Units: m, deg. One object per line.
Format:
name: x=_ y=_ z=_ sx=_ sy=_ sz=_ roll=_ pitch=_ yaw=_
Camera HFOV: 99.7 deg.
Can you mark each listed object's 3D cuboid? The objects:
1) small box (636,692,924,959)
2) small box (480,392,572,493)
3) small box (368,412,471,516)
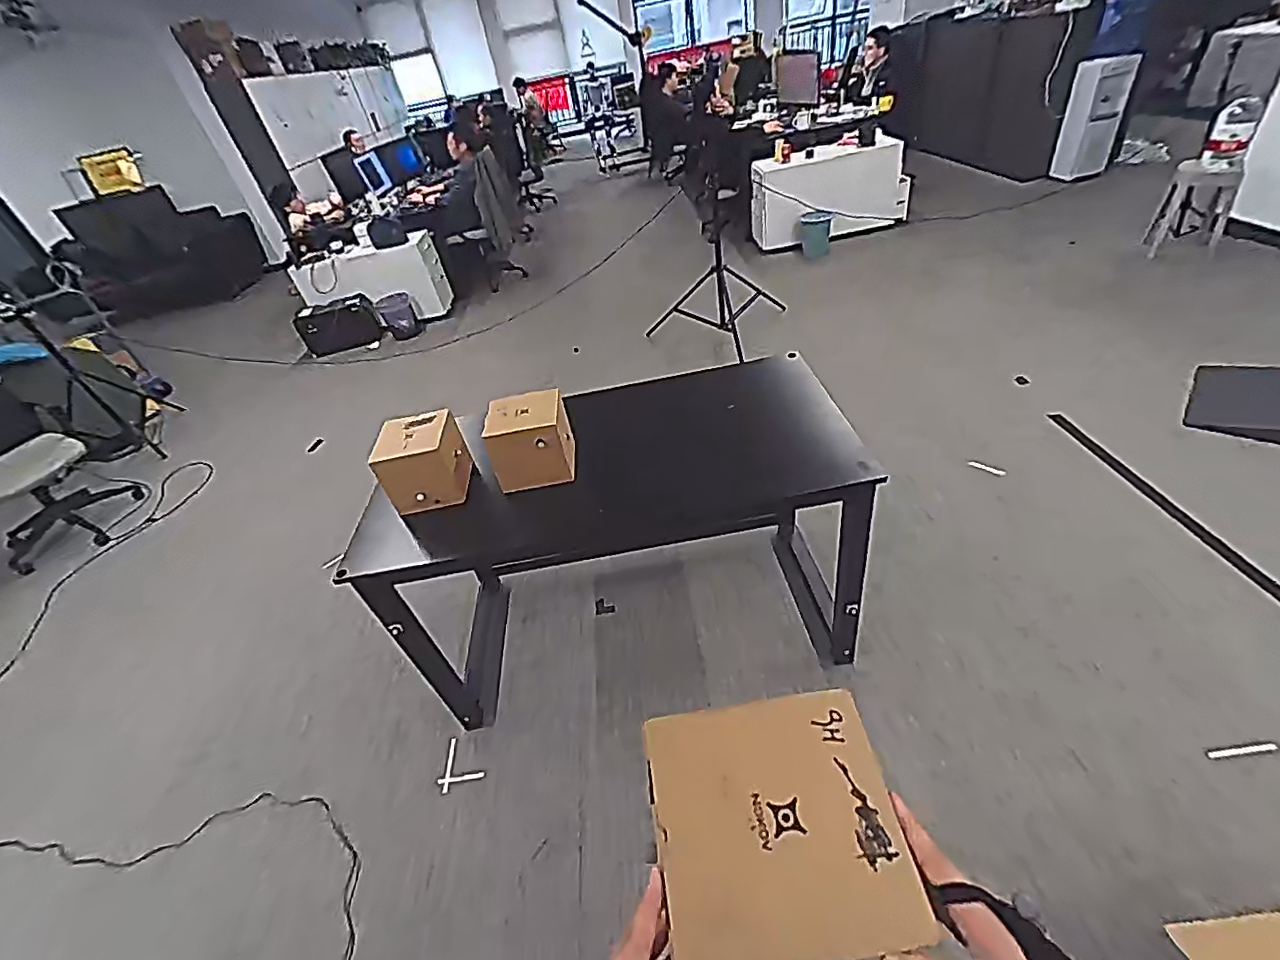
small box: x=0.100 y=0.303 z=0.460 sx=0.179 sy=0.176 sz=0.168 roll=-9 pitch=50 yaw=0
small box: x=-0.267 y=-0.090 z=1.317 sx=0.179 sy=0.176 sz=0.168 roll=-11 pitch=38 yaw=2
small box: x=-0.529 y=-0.039 z=1.327 sx=0.168 sy=0.176 sz=0.179 roll=-12 pitch=40 yaw=1
